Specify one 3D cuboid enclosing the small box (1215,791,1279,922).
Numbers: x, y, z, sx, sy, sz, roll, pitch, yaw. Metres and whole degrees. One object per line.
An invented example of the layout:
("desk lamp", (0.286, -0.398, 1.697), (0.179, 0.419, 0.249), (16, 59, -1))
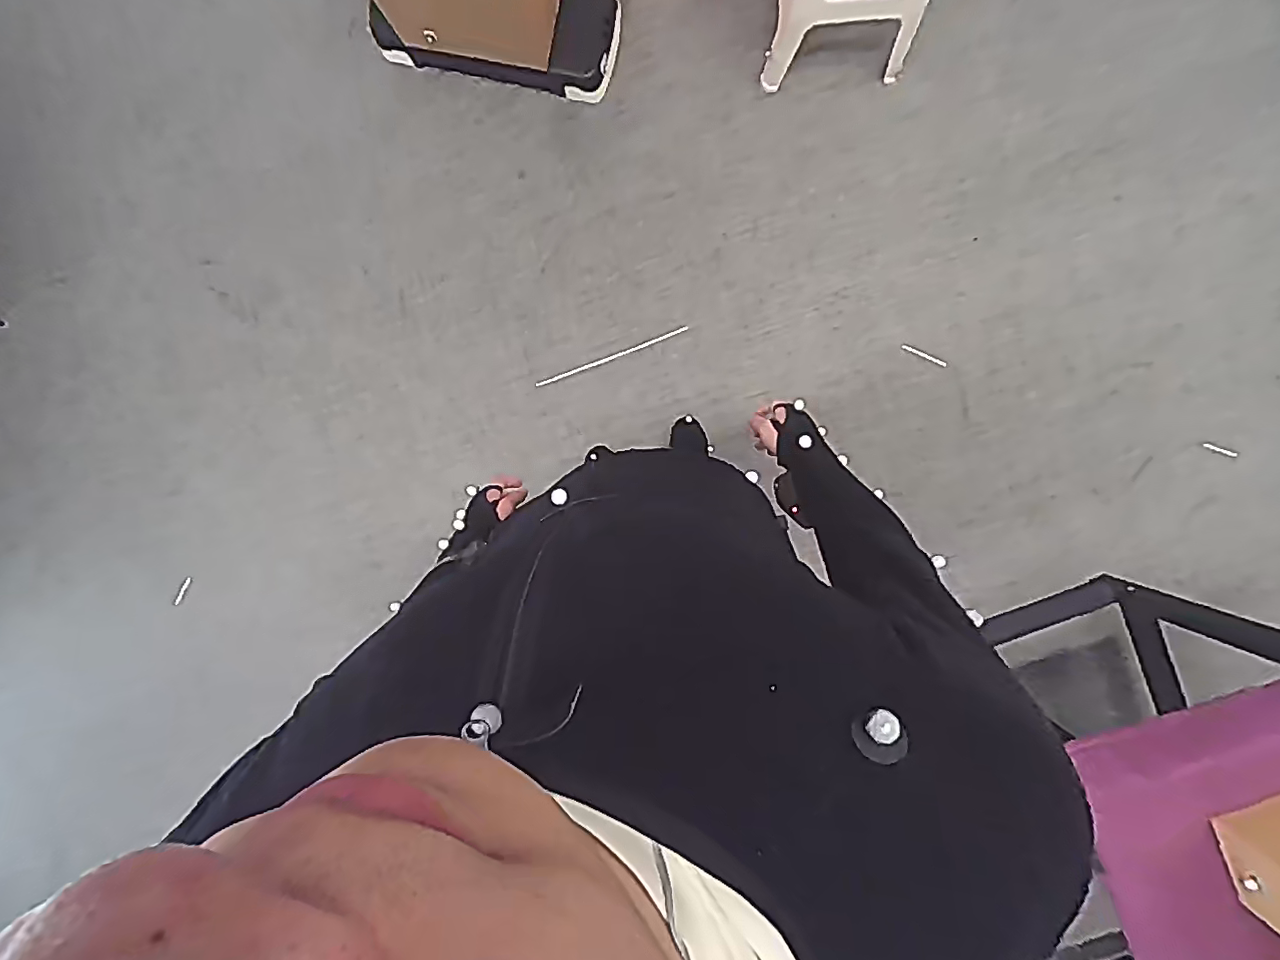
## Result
("small box", (1.066, 0.602, 0.826), (0.179, 0.176, 0.168), (-23, 93, 4))
